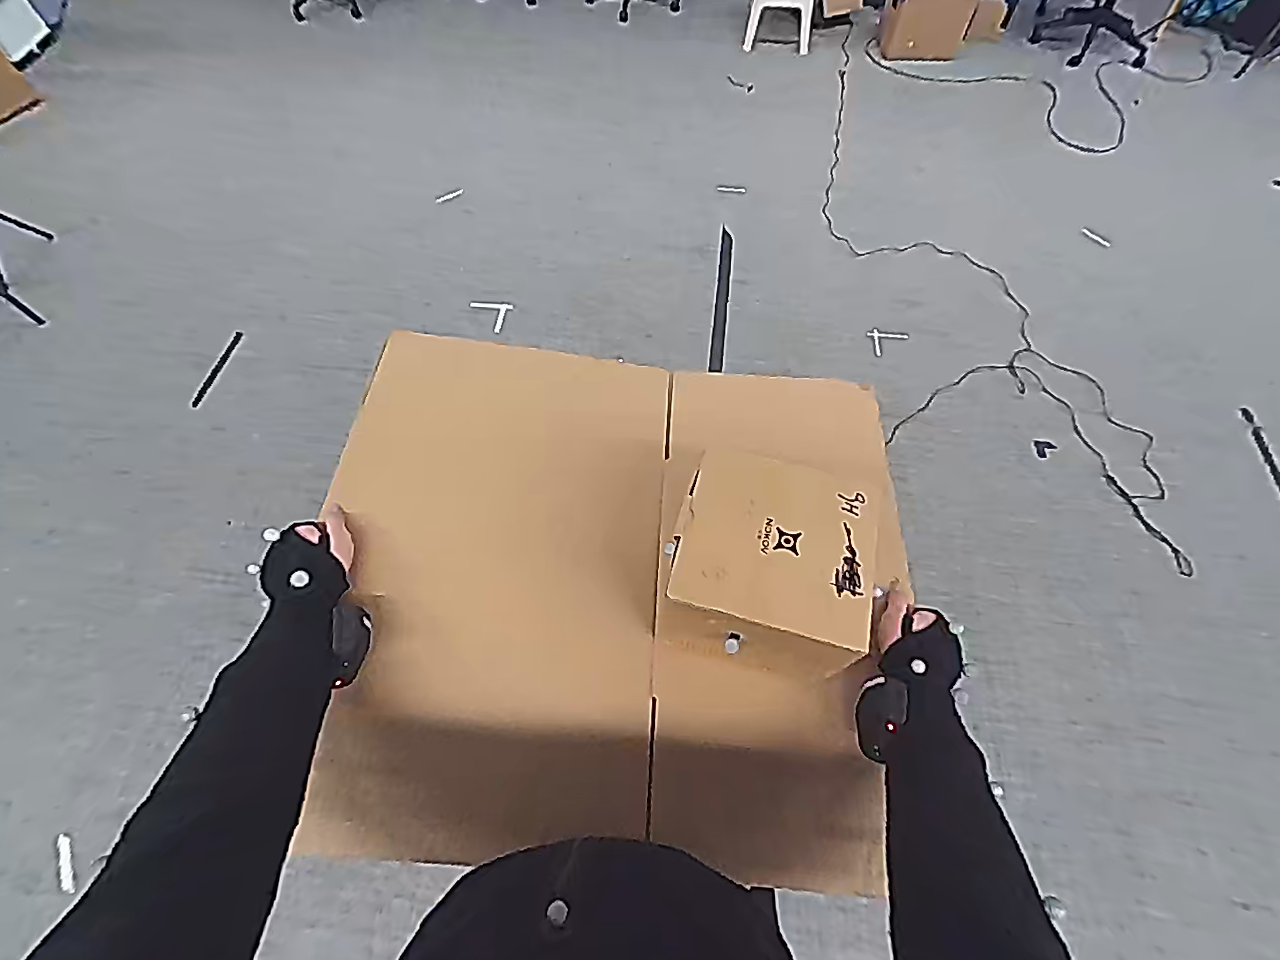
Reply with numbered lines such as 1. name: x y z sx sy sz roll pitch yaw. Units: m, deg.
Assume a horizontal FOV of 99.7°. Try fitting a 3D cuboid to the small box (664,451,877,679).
1. small box: 0.128 0.096 0.570 0.179 0.176 0.168 13 62 9
